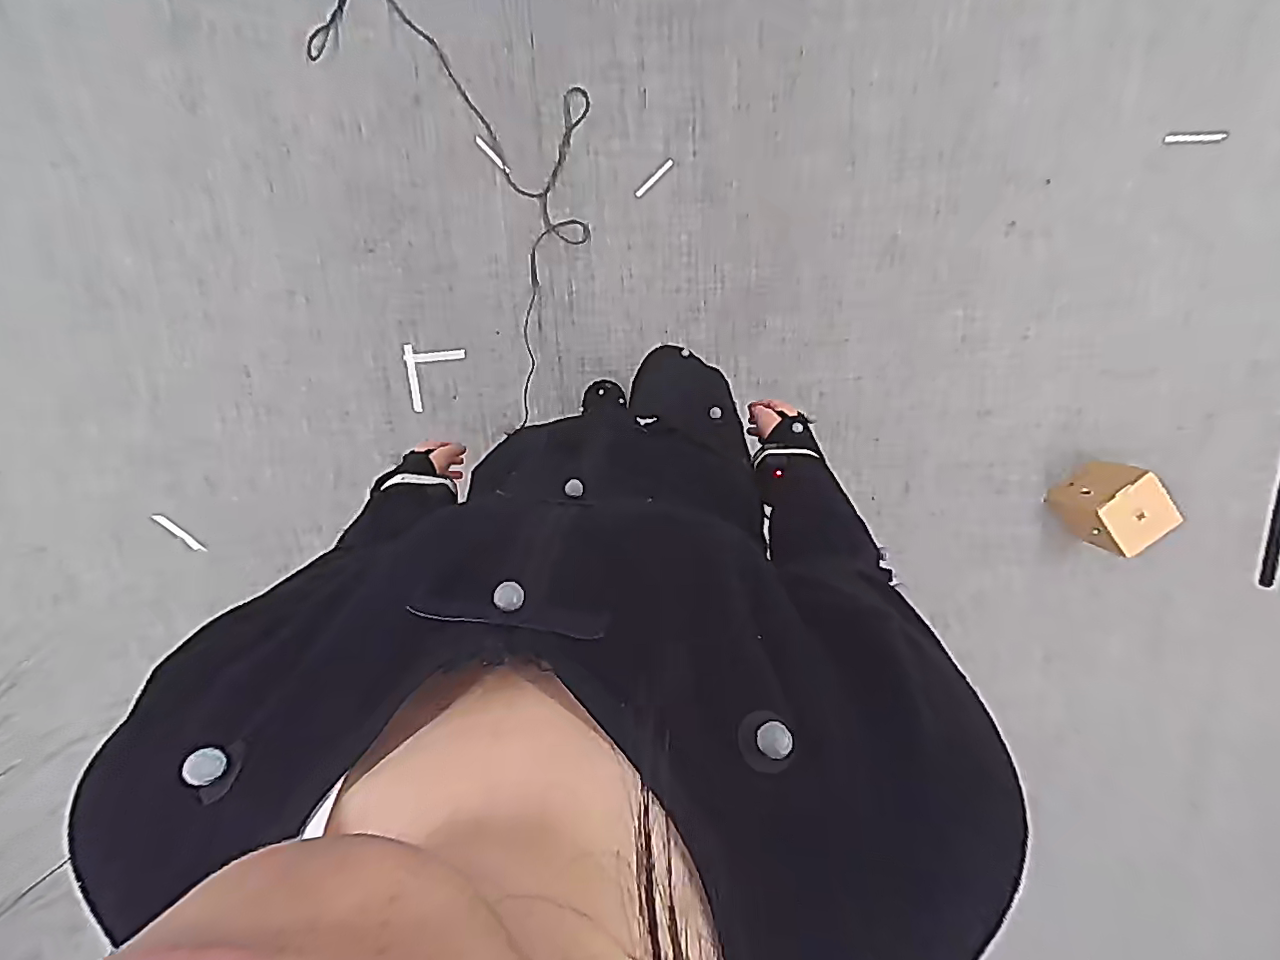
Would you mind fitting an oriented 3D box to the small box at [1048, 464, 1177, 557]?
[{"bbox_3d":[1.271,0.074,1.468,0.168,0.176,0.179,-40,101,7],"label":"small box"}]
